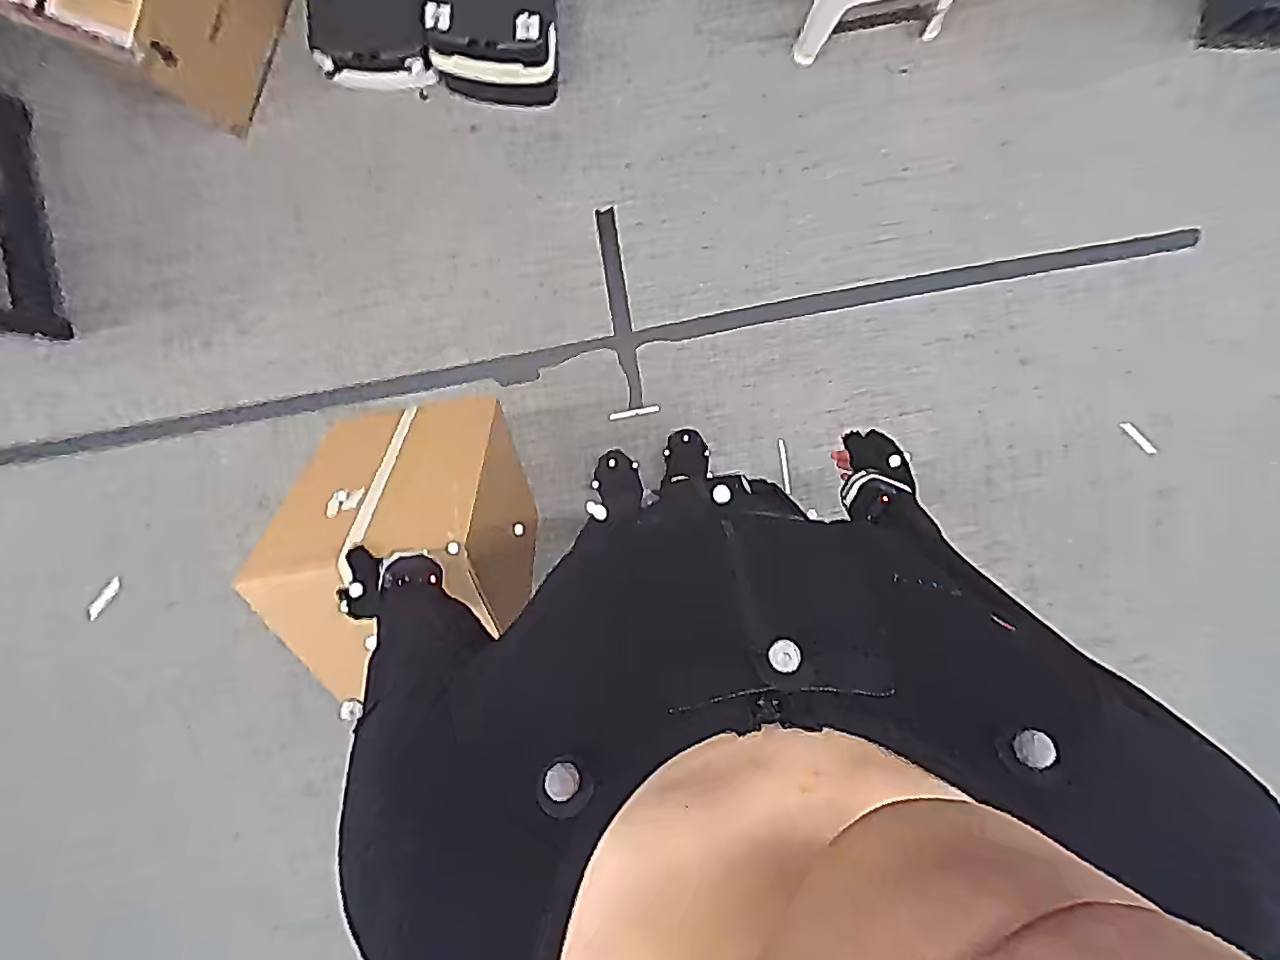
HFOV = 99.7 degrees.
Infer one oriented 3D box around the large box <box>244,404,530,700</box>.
[{"bbox_3d":[-0.387,0.114,0.969,0.320,0.408,0.320,-10,129,0],"label":"large box"}]
